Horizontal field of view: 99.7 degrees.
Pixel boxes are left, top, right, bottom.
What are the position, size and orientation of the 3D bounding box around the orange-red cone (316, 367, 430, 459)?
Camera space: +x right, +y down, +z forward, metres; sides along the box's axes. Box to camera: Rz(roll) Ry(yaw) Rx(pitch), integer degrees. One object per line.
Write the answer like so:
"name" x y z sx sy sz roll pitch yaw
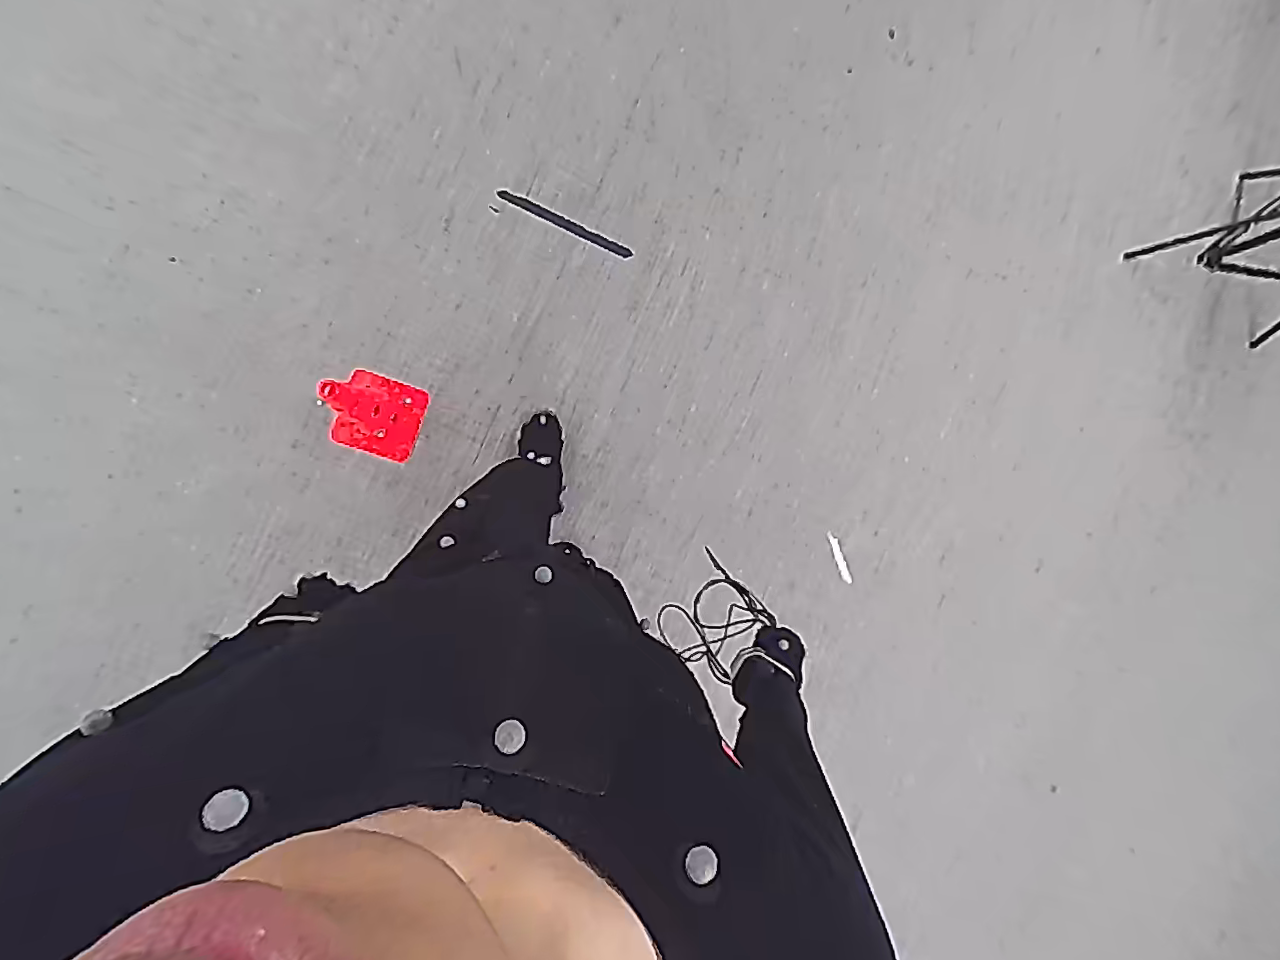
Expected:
"orange-red cone" -0.632 -0.177 1.206 0.199 0.360 0.198 20 84 -8
